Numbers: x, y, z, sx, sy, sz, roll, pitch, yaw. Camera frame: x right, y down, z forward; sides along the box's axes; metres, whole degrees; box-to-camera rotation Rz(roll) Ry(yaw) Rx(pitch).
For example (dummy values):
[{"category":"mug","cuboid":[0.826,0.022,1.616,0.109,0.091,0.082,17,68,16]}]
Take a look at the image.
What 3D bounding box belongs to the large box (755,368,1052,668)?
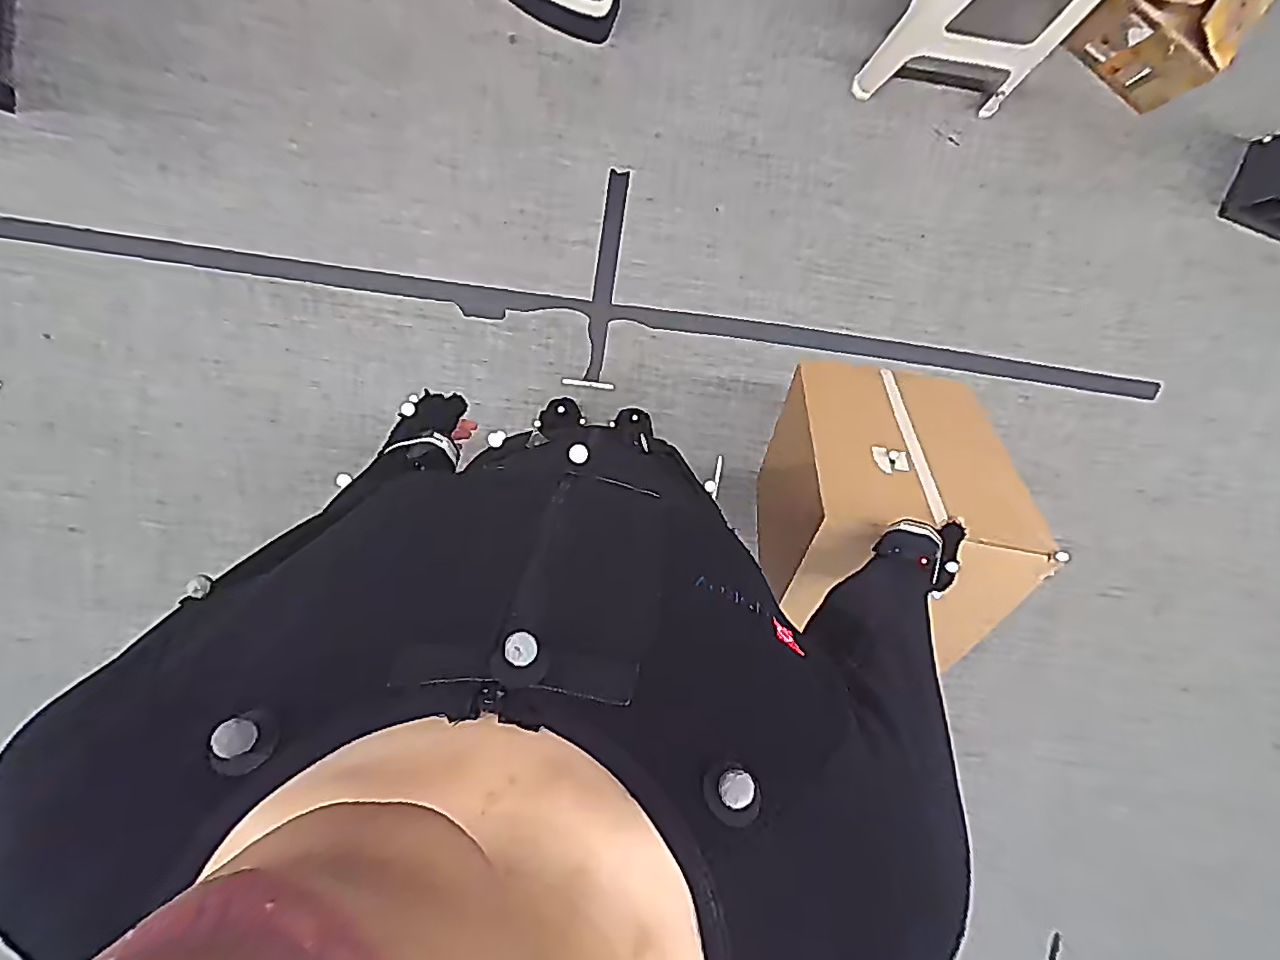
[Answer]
[{"category":"large box","cuboid":[0.402,0.058,0.962,0.320,0.408,0.320,9,134,1]}]
